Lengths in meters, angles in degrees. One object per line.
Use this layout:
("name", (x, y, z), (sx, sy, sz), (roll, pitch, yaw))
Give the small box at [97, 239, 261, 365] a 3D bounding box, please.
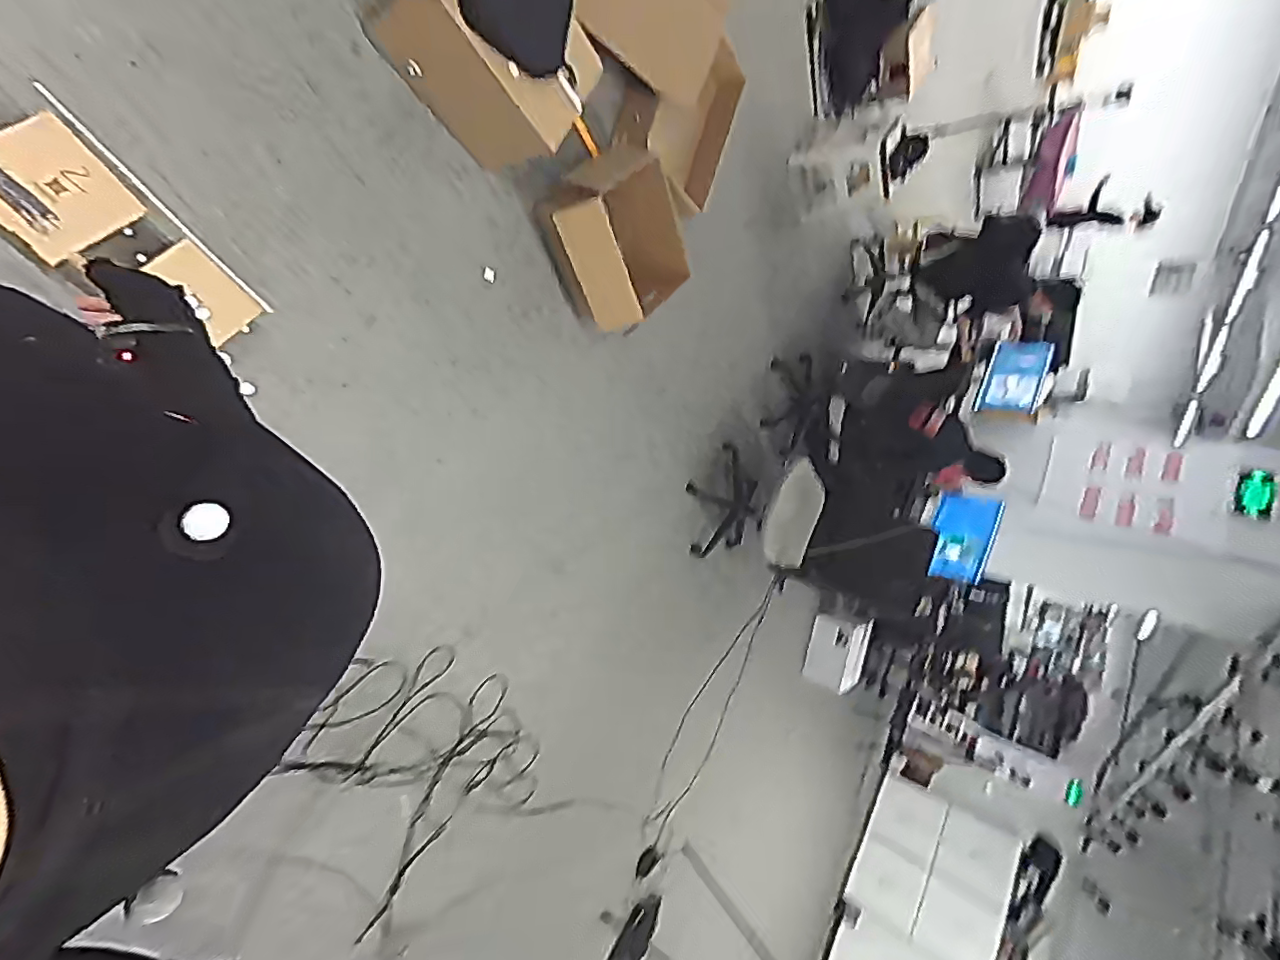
("small box", (-0.909, -0.348, 1.065), (0.179, 0.176, 0.168), (-55, 136, -24))
